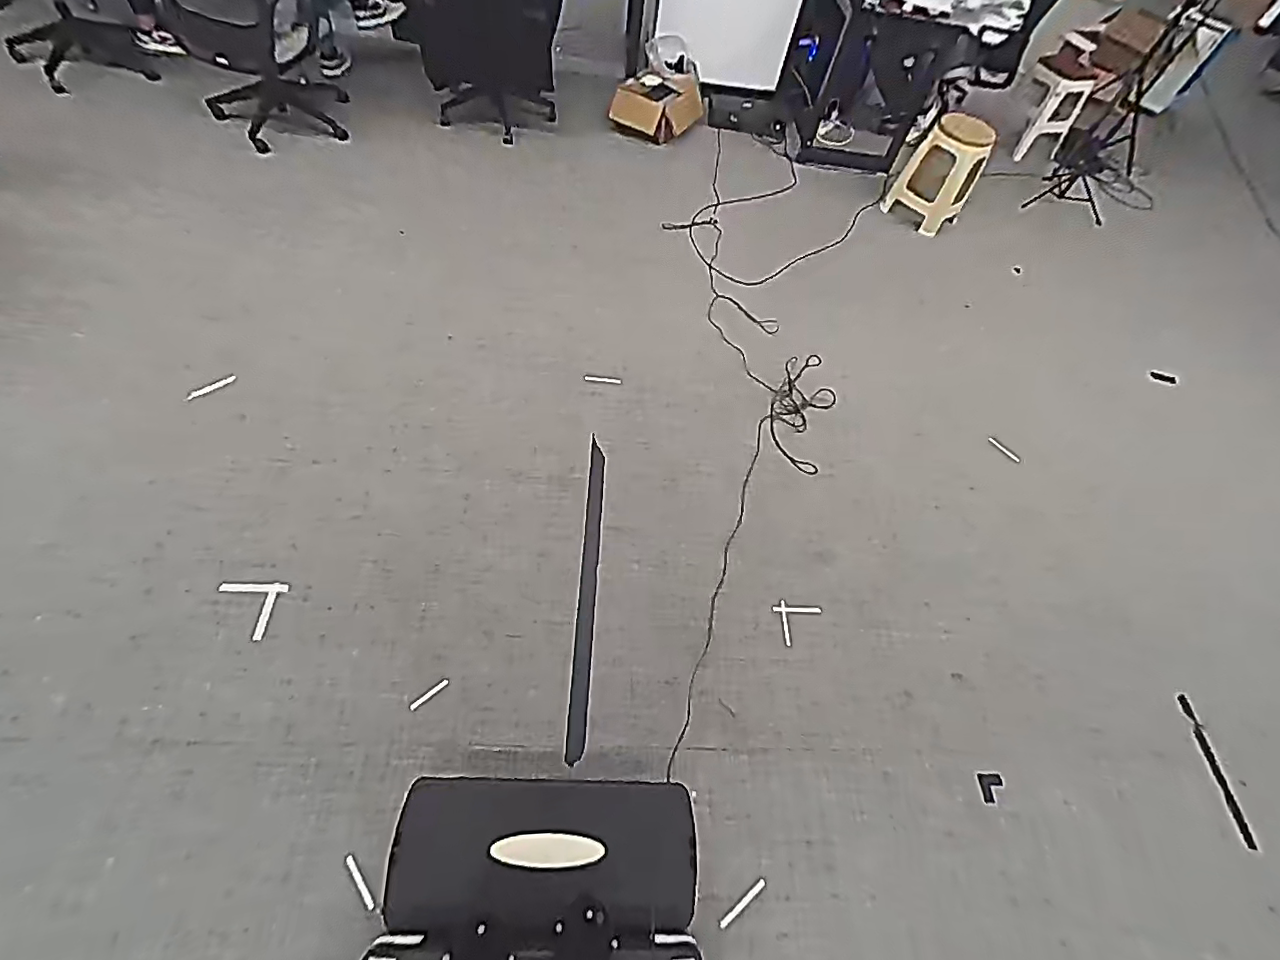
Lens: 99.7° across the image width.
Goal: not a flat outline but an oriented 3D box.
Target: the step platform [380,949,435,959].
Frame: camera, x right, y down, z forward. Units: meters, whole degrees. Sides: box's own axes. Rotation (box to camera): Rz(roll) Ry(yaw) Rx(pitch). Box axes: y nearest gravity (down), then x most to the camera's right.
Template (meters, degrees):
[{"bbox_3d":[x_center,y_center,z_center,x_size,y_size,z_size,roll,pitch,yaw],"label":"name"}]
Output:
[{"bbox_3d":[-0.202,1.083,0.988,0.684,0.204,0.286,8,55,-2],"label":"step platform"}]
